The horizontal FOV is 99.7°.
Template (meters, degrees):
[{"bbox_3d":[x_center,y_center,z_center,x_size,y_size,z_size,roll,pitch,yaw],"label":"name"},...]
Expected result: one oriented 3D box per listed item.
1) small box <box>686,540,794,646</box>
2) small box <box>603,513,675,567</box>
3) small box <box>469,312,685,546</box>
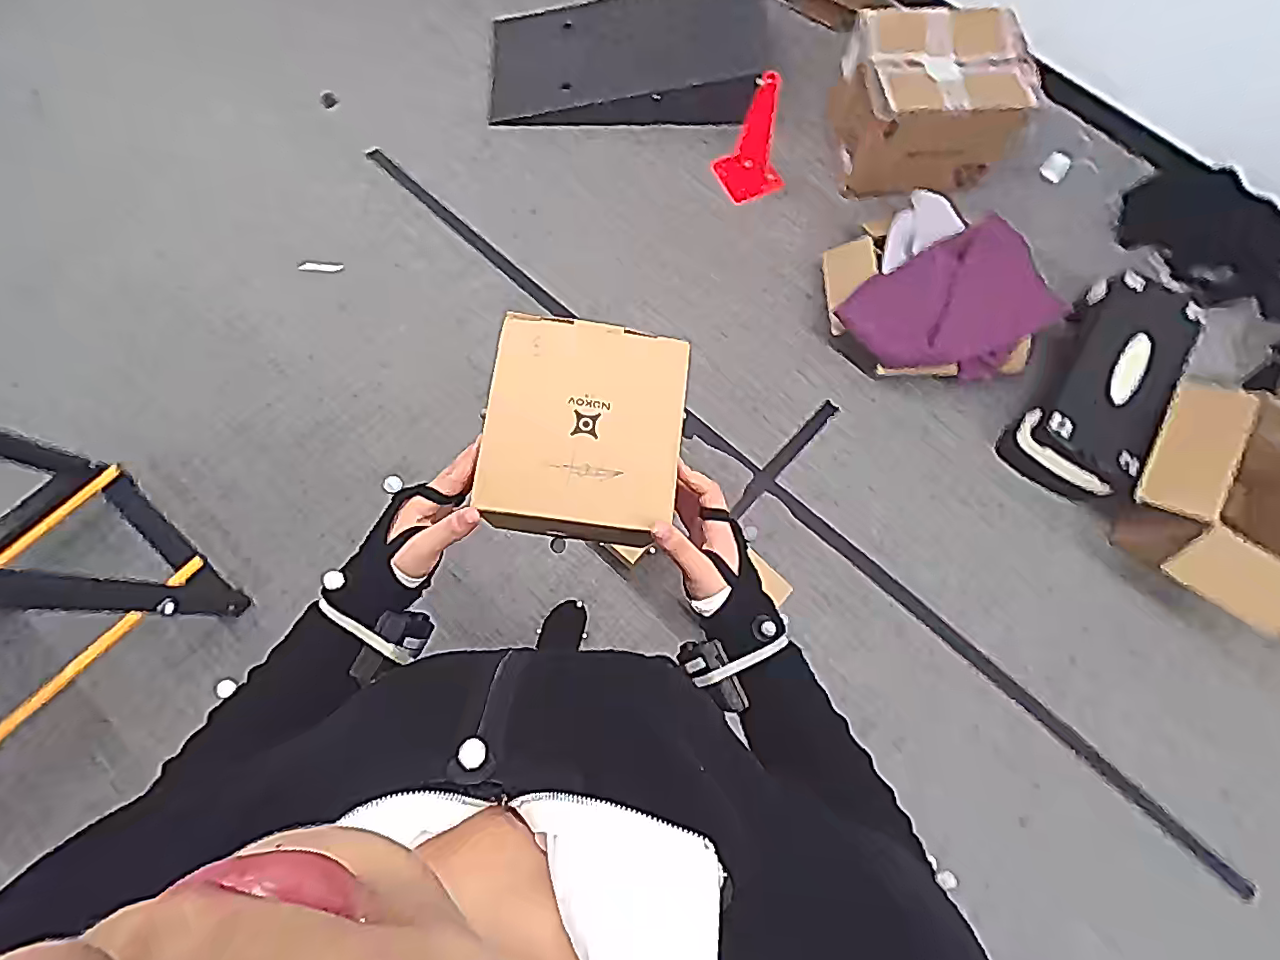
[{"bbox_3d":[0.226,0.268,1.278,0.168,0.176,0.179,44,79,10],"label":"small box"},{"bbox_3d":[-0.028,0.122,1.481,0.179,0.176,0.168,40,78,9],"label":"small box"},{"bbox_3d":[-0.059,-0.035,0.534,0.168,0.176,0.179,7,78,-6],"label":"small box"}]
